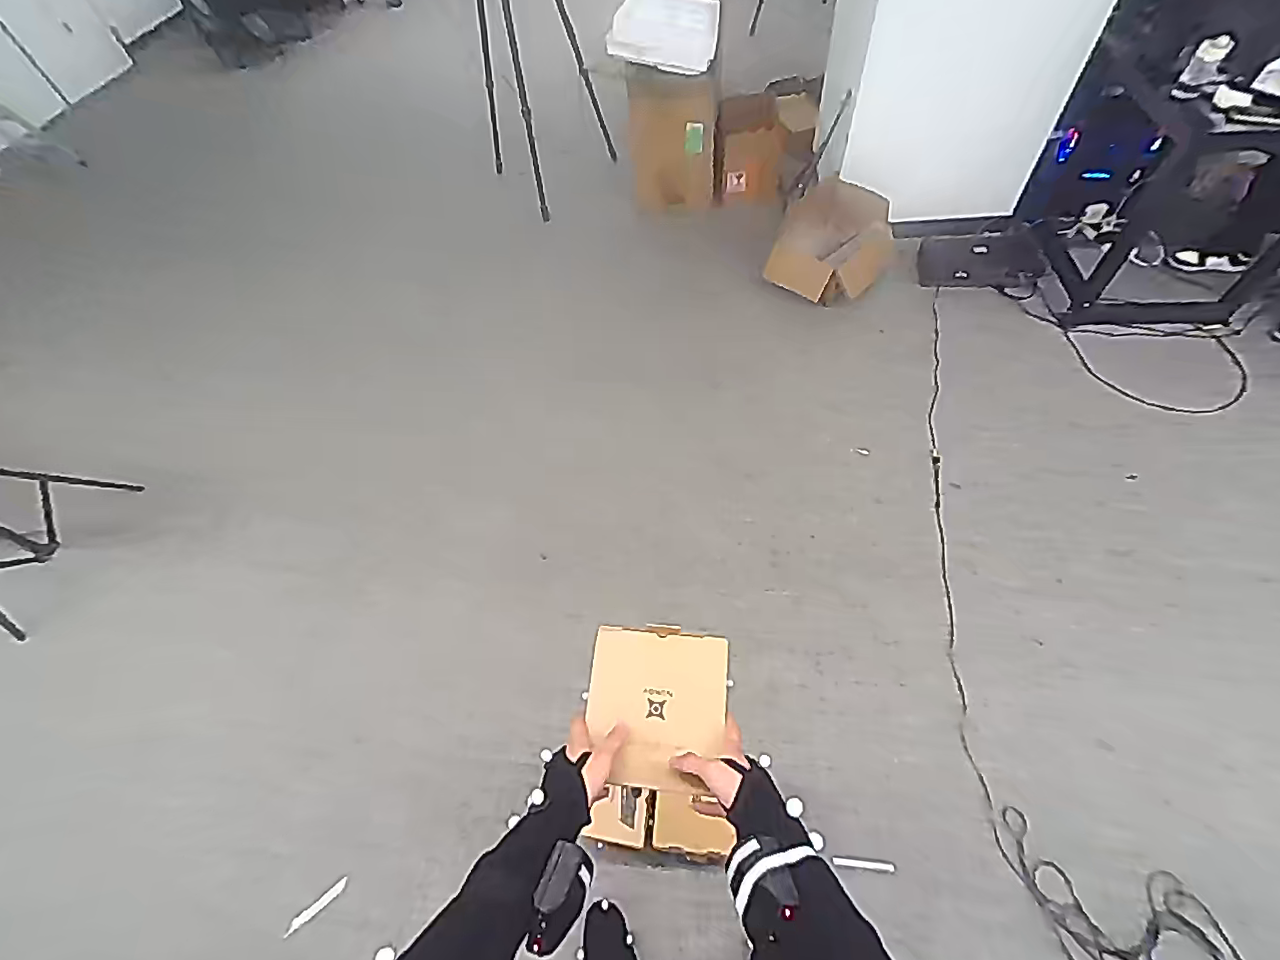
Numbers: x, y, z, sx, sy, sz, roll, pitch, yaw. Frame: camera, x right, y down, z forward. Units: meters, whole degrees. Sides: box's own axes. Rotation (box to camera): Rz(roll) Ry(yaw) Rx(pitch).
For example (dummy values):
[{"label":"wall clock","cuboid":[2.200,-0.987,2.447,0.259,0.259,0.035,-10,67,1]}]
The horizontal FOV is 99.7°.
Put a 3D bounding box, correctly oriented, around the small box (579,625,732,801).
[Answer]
[{"label":"small box","cuboid":[0.024,0.305,0.707,0.168,0.176,0.179,5,63,5]}]
